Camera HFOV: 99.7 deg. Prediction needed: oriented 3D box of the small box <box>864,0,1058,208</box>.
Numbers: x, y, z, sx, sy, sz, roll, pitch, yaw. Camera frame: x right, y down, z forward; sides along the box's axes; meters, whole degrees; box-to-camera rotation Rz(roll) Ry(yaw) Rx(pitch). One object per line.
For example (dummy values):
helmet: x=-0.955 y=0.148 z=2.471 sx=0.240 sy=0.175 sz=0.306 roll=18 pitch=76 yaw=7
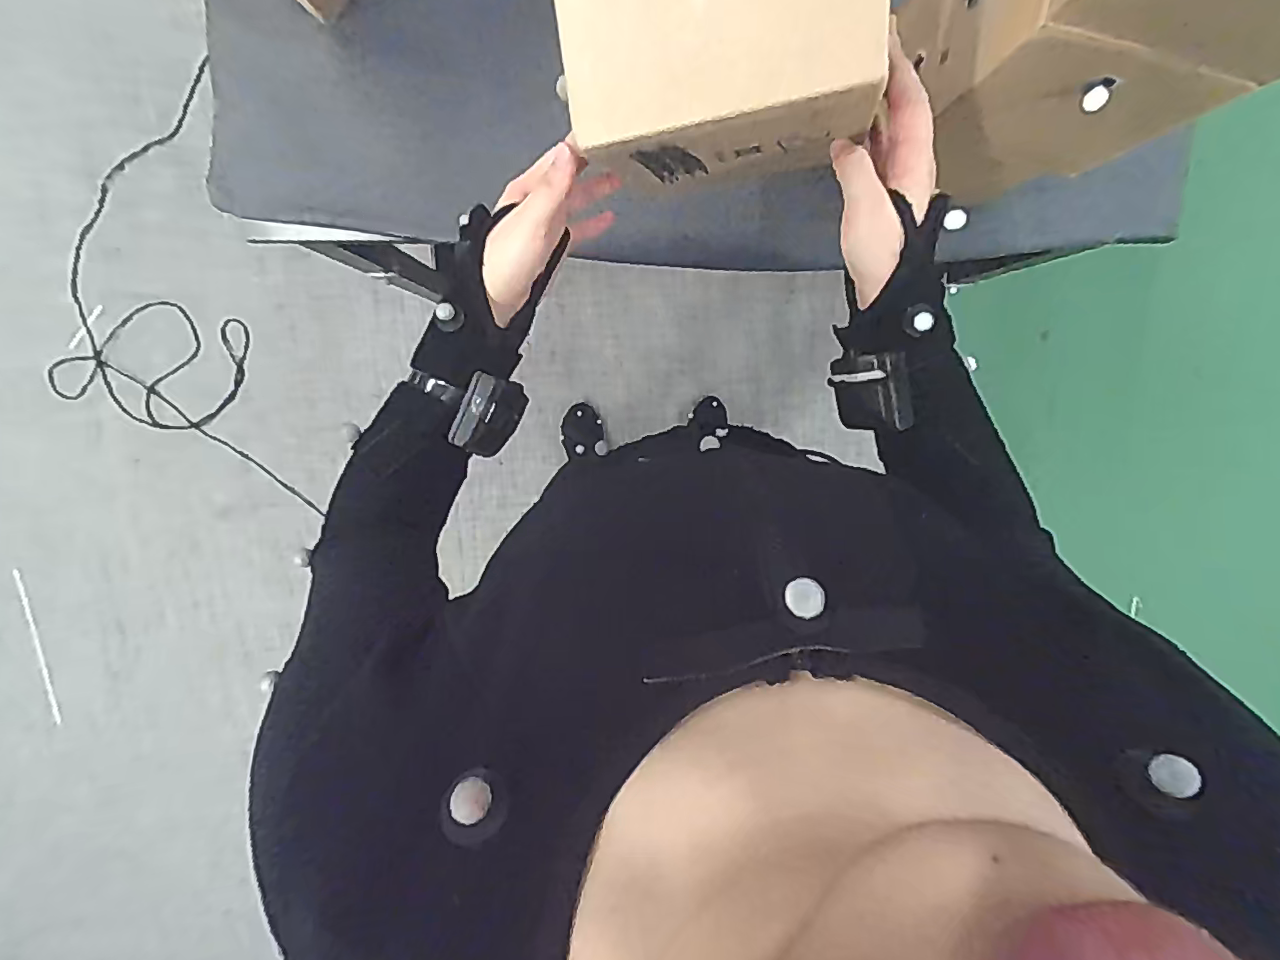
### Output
small box: x=0.366 y=-0.425 z=0.599 sx=0.168 sy=0.176 sz=0.179 roll=0 pitch=100 yaw=-1

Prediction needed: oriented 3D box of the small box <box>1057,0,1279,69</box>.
small box: x=0.379 y=-0.360 z=0.279 sx=0.179 sy=0.176 sz=0.168 roll=13 pitch=98 yaw=-3

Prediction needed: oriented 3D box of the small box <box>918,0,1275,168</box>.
small box: x=0.371 y=-0.384 z=0.442 sx=0.179 sy=0.176 sz=0.168 roll=11 pitch=99 yaw=-3
